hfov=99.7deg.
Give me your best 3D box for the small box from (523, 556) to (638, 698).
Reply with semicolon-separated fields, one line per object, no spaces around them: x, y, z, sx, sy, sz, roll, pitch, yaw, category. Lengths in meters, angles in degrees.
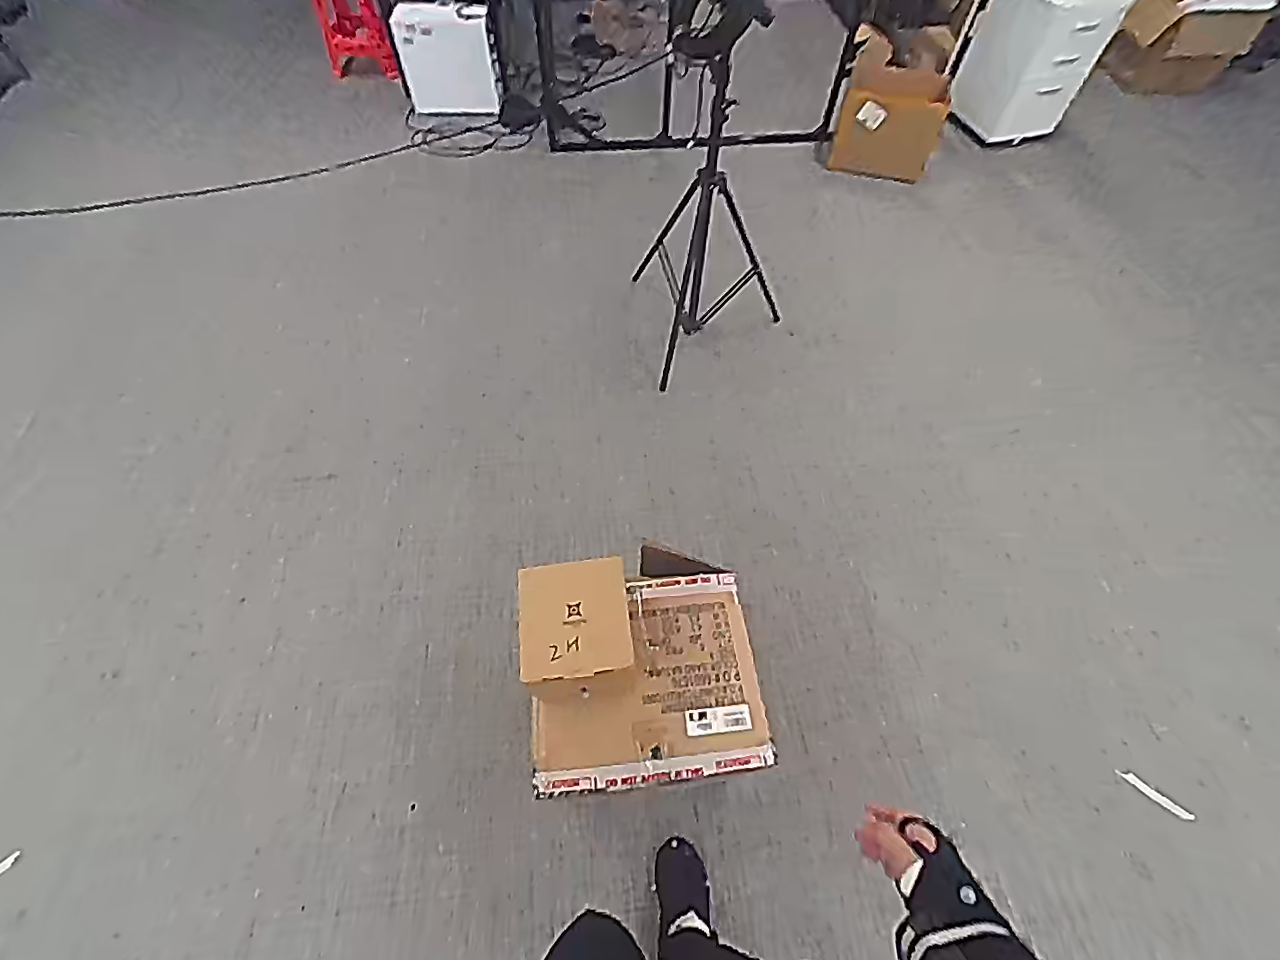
-0.094;0.243;0.884;0.168;0.176;0.179;-7;61;-3;small box
